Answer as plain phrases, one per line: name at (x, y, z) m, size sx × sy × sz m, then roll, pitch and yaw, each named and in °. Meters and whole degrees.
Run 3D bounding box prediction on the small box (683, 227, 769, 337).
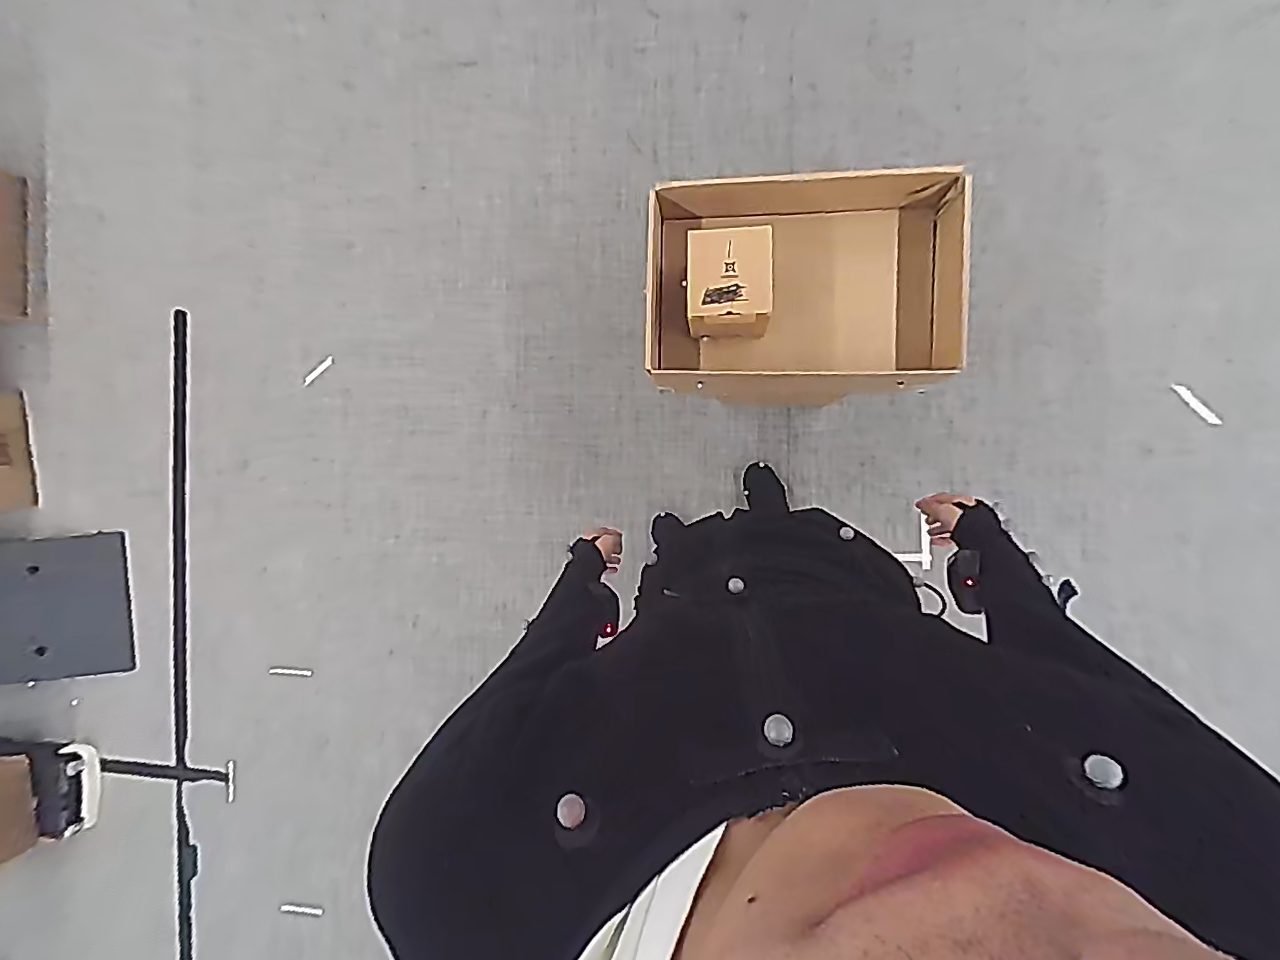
small box at (0.180, -0.404, 1.135) m, size 0.168 × 0.176 × 0.179 m, roll 0°, pitch 89°, yaw 8°
